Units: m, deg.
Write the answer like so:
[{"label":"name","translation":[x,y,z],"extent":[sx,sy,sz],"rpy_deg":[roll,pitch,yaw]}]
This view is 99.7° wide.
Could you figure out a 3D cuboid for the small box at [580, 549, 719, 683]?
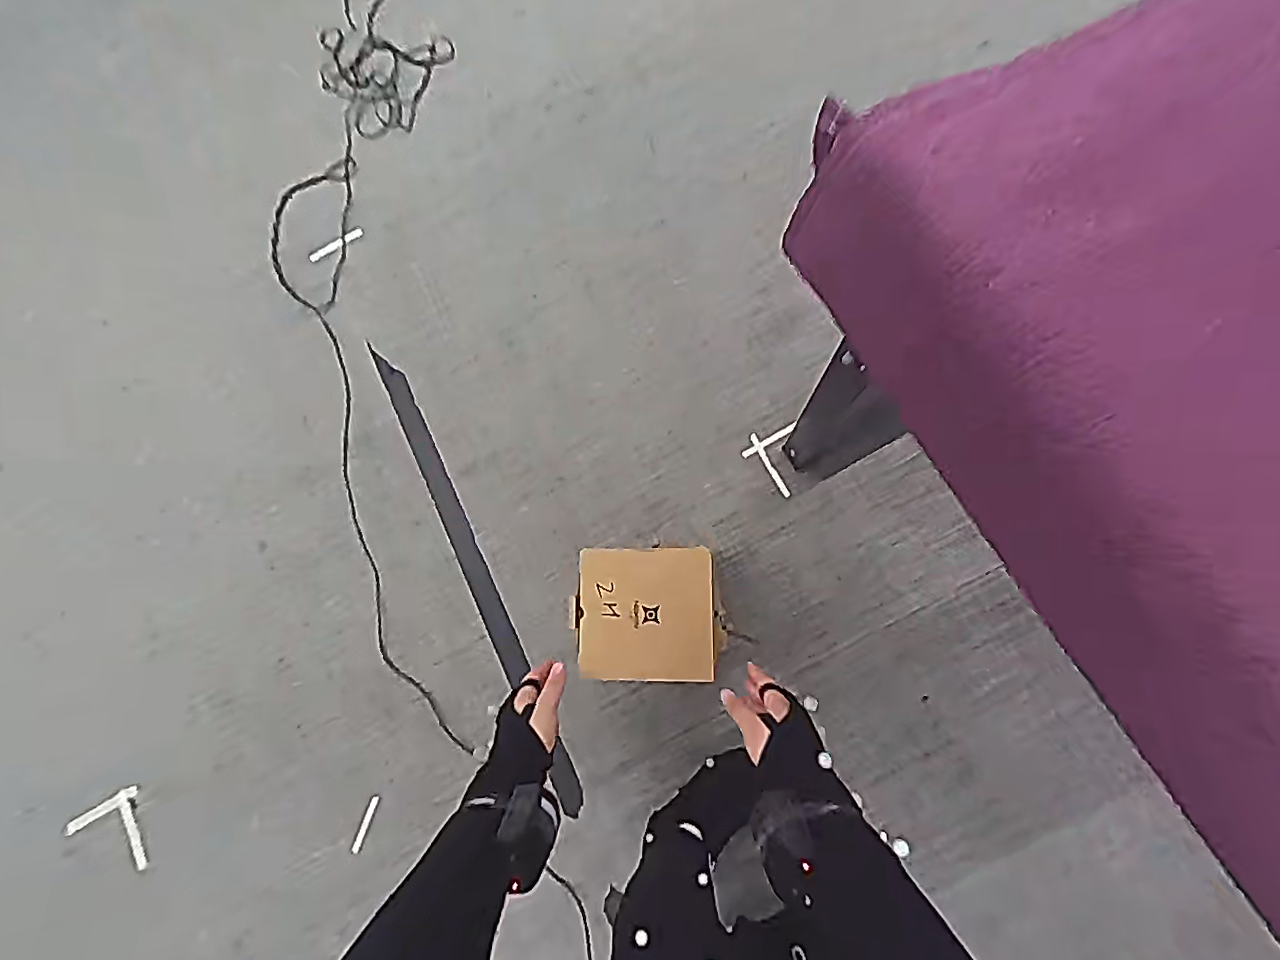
[{"label":"small box","translation":[0.021,0.181,0.764],"extent":[0.179,0.176,0.168],"rpy_deg":[-2,81,9]}]
